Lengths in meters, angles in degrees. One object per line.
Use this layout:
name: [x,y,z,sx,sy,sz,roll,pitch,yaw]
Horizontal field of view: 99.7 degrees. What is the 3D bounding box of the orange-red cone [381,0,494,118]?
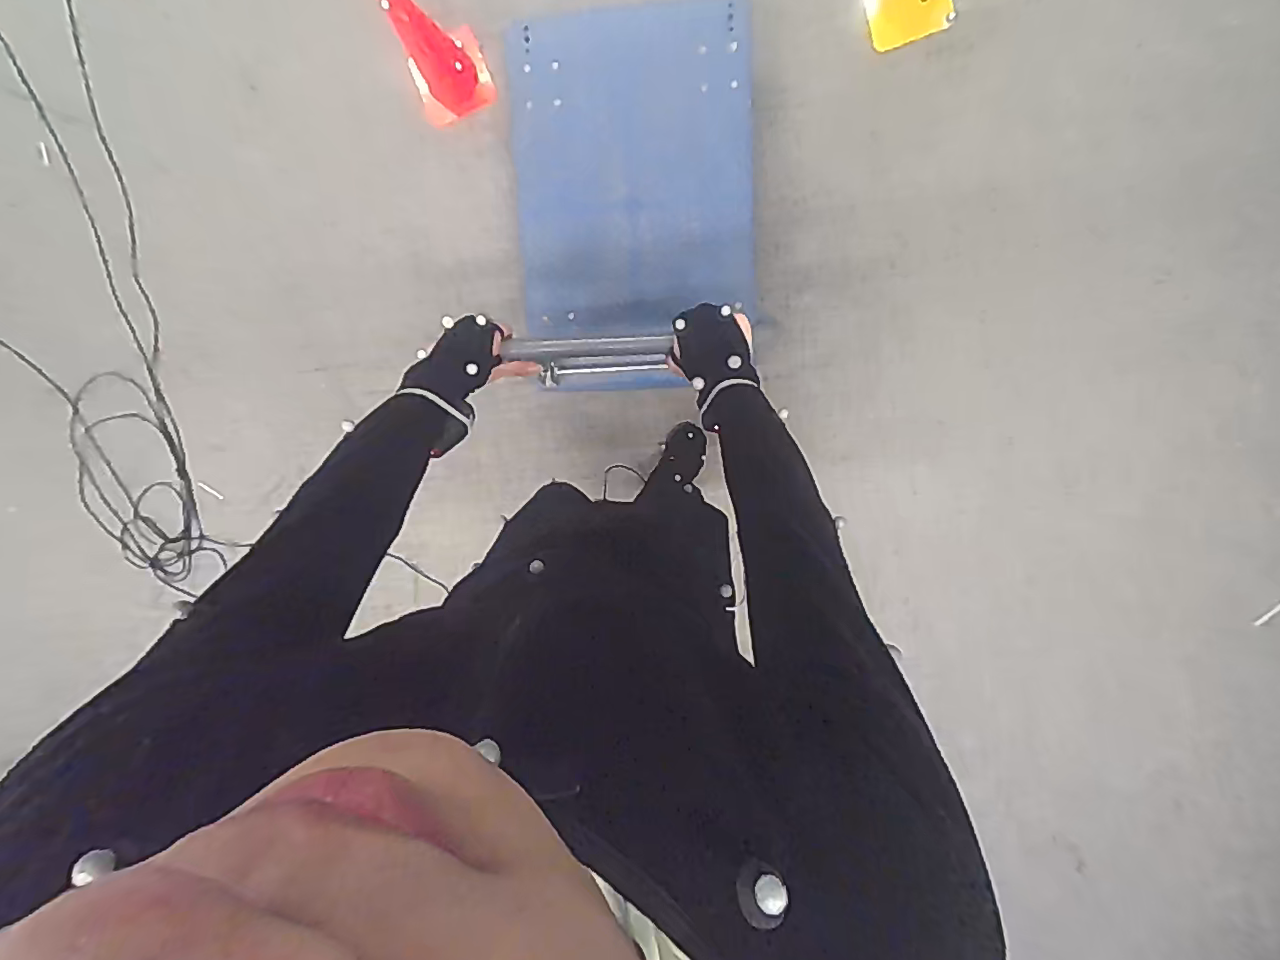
orange-red cone: [-0.526,-1.073,1.286,0.199,0.360,0.198,-19,97,9]
